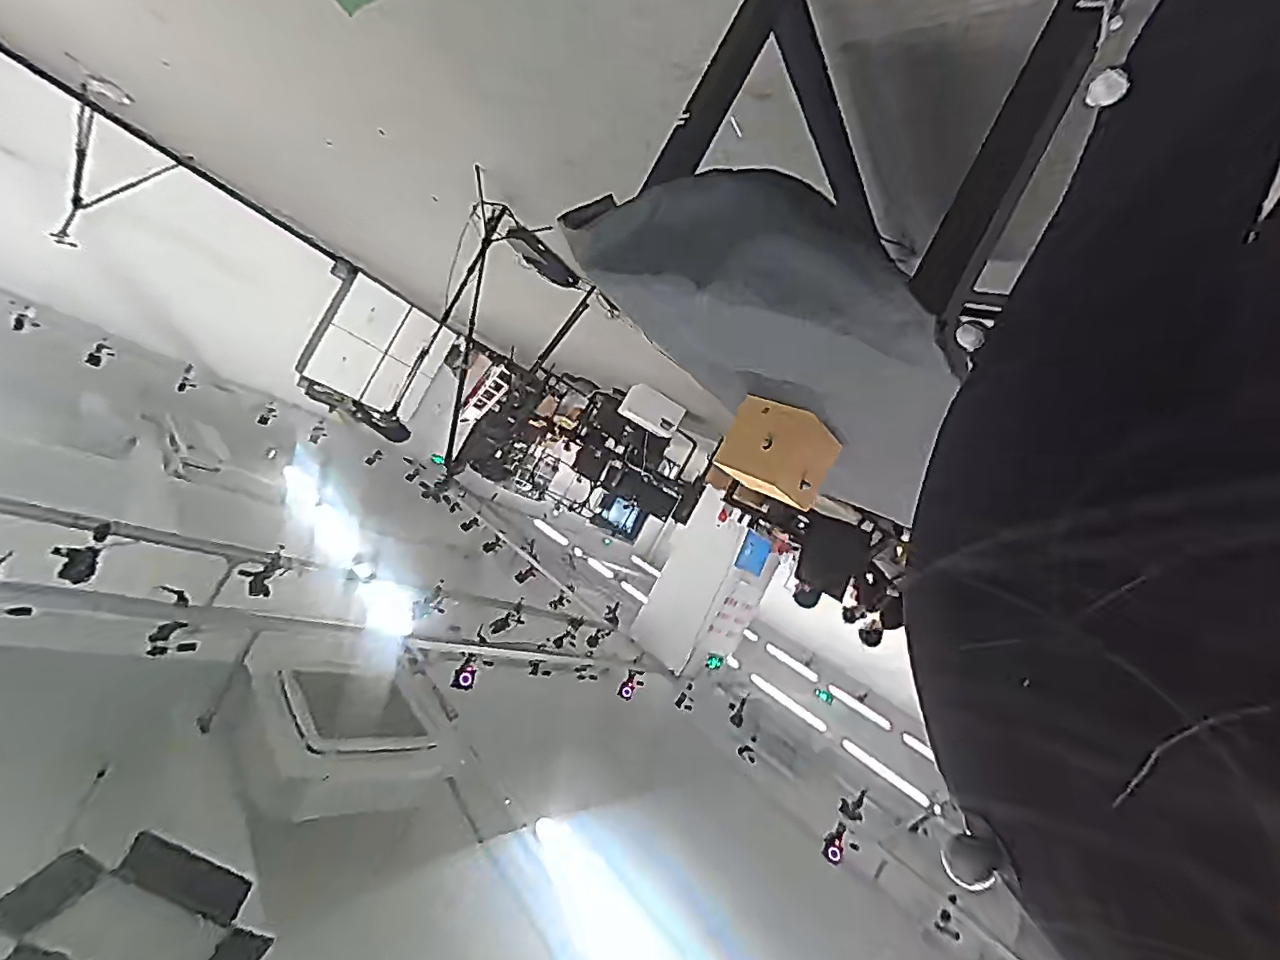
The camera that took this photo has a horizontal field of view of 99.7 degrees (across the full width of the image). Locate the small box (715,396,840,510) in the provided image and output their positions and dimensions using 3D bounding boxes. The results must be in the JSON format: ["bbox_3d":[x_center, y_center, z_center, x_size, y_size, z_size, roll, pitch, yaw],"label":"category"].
[{"bbox_3d":[0.298,-0.061,1.159,0.168,0.176,0.179,26,179,43],"label":"small box"}]
